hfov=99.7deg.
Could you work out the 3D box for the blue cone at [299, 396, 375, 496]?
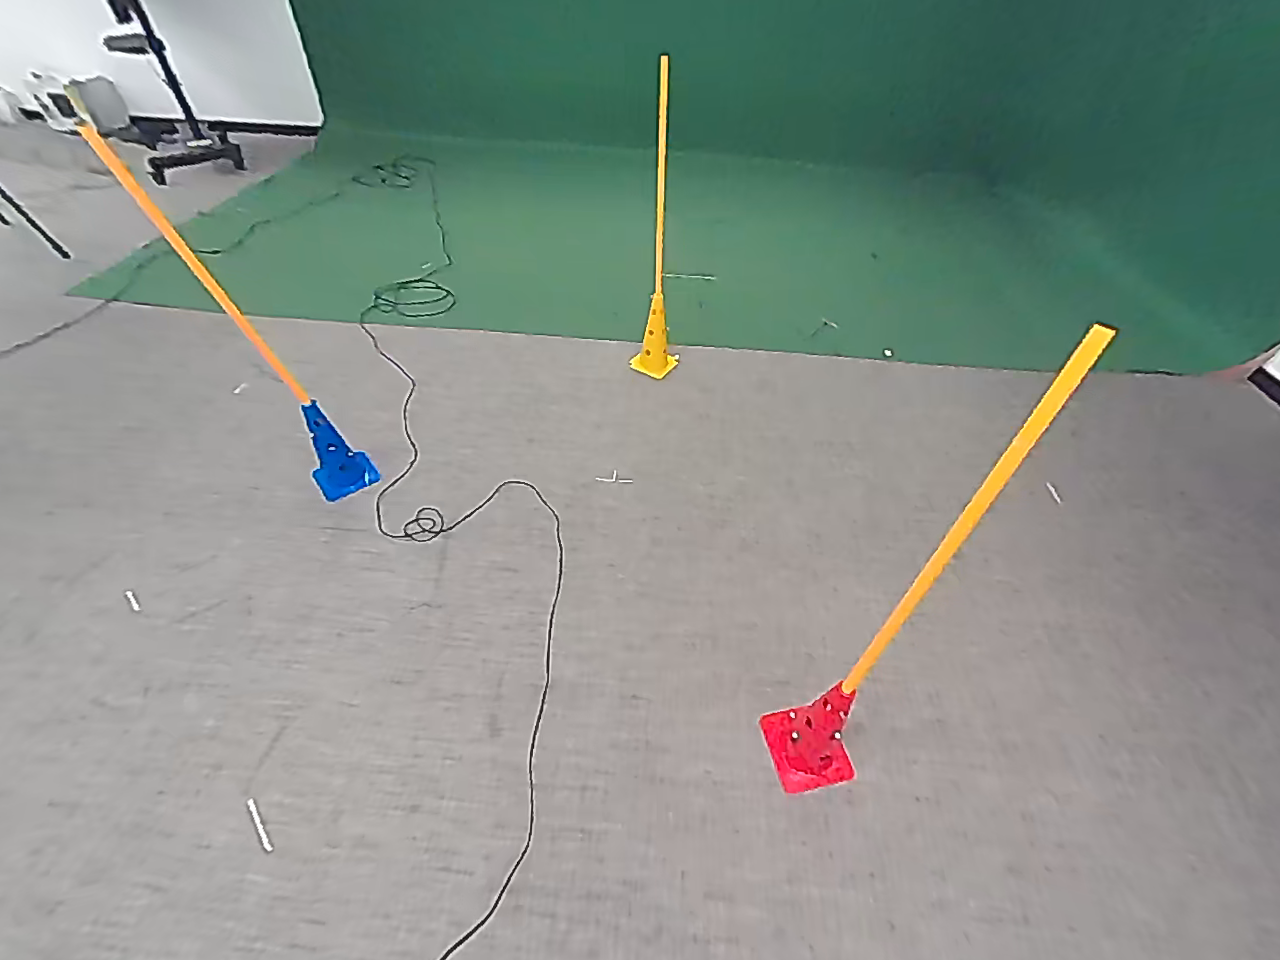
[{"bbox_3d":[-1.108,-0.135,1.915,0.193,0.380,0.192,-32,56,-27],"label":"blue cone"}]
